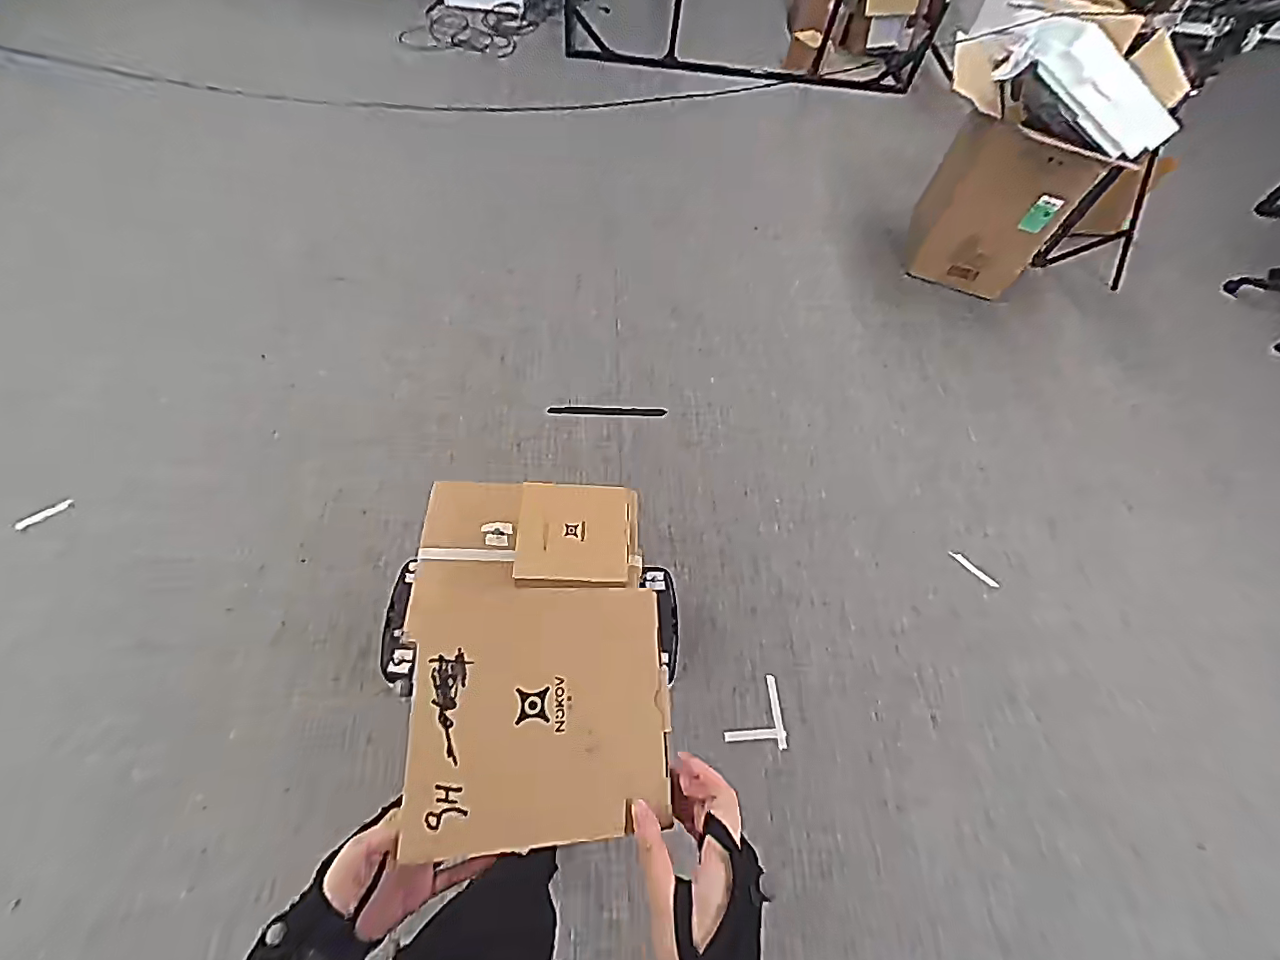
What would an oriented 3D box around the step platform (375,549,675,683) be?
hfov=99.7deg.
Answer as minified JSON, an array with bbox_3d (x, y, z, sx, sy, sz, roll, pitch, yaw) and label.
[{"bbox_3d":[-0.257,0.358,1.309,0.684,0.204,0.286,7,59,-2],"label":"step platform"}]

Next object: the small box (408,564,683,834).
[{"bbox_3d":[-0.080,0.173,0.441,0.179,0.176,0.168,4,64,-16],"label":"small box"}]

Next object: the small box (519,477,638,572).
[{"bbox_3d":[-0.100,0.111,0.909,0.179,0.176,0.168,3,60,-4],"label":"small box"}]

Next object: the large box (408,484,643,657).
[{"bbox_3d":[-0.204,0.218,1.120,0.408,0.320,0.320,2,59,-4],"label":"large box"}]
